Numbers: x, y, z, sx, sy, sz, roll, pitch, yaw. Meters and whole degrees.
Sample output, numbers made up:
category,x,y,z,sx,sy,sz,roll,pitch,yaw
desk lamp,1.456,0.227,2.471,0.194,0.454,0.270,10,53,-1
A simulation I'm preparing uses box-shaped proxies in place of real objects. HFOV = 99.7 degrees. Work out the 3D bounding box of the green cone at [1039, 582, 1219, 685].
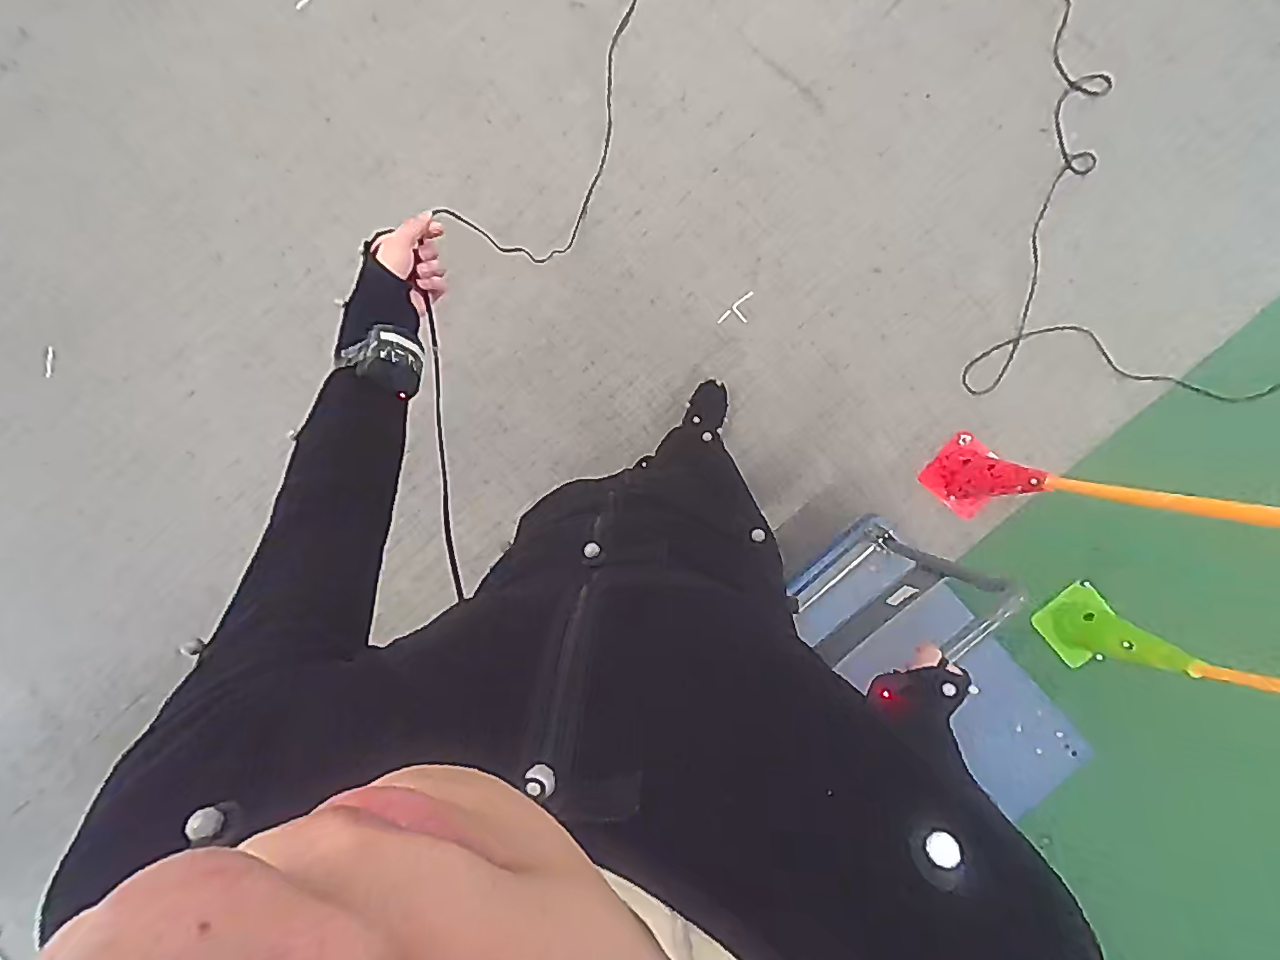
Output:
category,x,y,z,sx,sy,sz,roll,pitch,yaw
green cone,1.274,0.429,1.386,0.200,0.368,0.202,-41,91,3
